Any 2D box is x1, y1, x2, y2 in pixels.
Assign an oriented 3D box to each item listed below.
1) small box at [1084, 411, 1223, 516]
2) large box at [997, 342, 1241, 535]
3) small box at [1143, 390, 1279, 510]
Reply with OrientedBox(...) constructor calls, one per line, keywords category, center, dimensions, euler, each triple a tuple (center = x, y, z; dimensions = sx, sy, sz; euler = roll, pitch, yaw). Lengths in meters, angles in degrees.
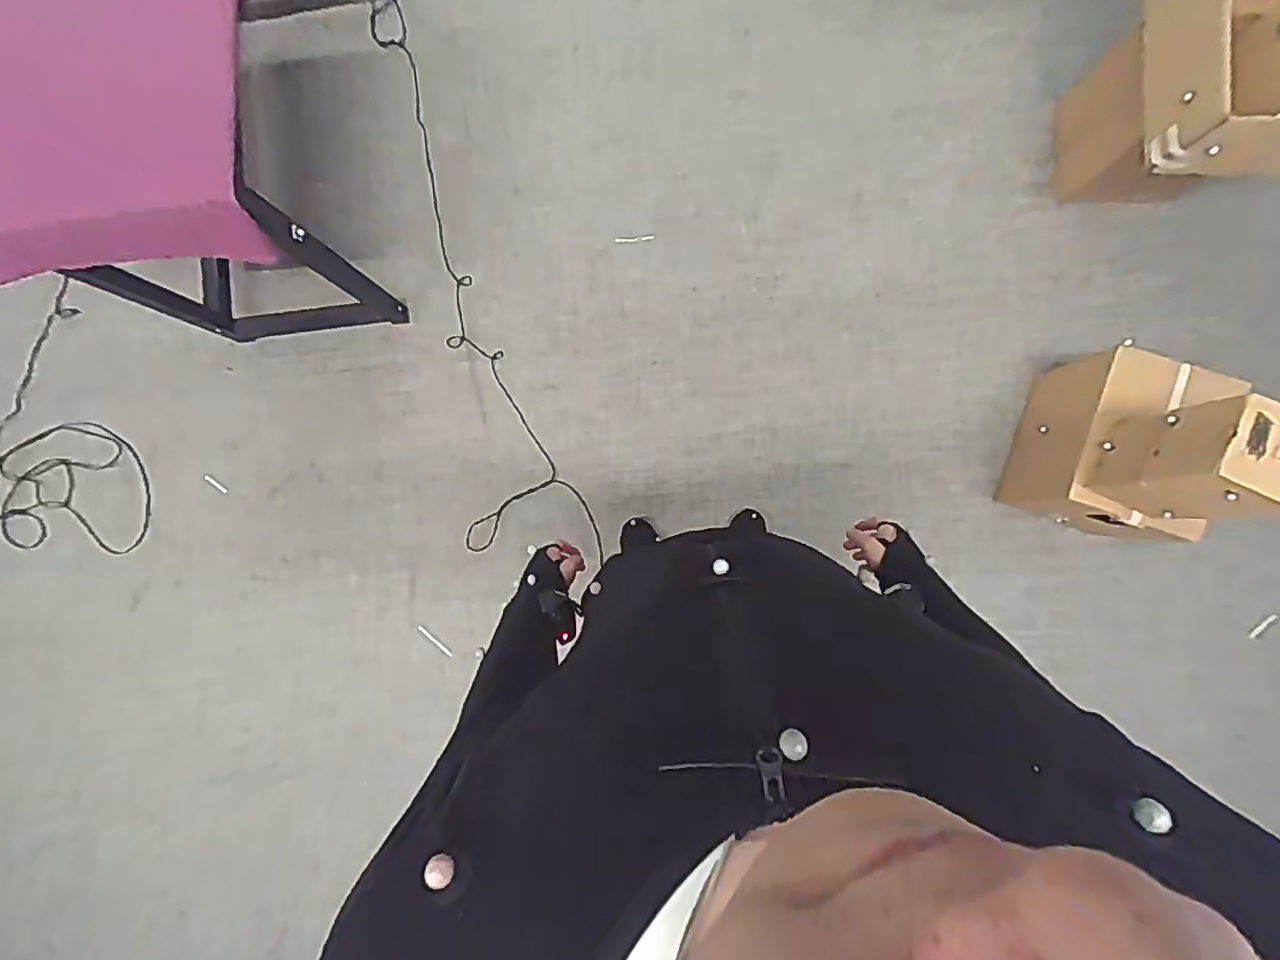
OrientedBox(category="small box", center=(1.155, -0.033, 1.197), dimensions=(0.179, 0.176, 0.168), euler=(26, 89, 6))
OrientedBox(category="large box", center=(1.238, -0.092, 1.440), dimensions=(0.320, 0.320, 0.408), euler=(19, 88, 3))
OrientedBox(category="small box", center=(1.139, -0.047, 1.035), dimensions=(0.179, 0.176, 0.168), euler=(26, 89, 5))
